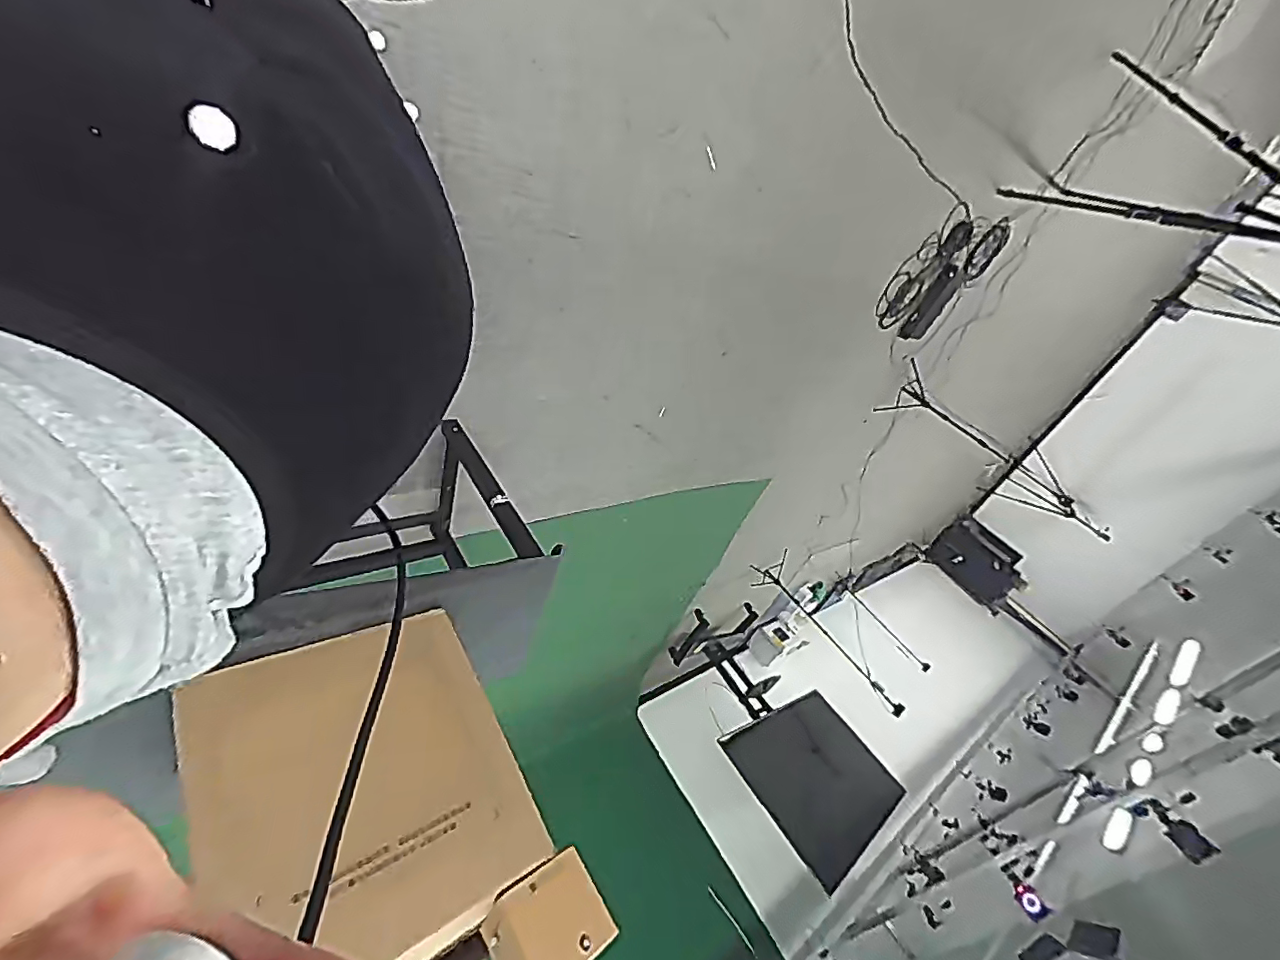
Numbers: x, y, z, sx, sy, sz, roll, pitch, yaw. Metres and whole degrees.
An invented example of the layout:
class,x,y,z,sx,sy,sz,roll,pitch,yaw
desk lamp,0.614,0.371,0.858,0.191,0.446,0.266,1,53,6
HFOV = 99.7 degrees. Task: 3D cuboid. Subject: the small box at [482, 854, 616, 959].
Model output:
class,x,y,z,sx,sy,sz,roll,pitch,yaw
small box,-0.179,0.856,1.021,0.168,0.176,0.179,-11,138,-43
